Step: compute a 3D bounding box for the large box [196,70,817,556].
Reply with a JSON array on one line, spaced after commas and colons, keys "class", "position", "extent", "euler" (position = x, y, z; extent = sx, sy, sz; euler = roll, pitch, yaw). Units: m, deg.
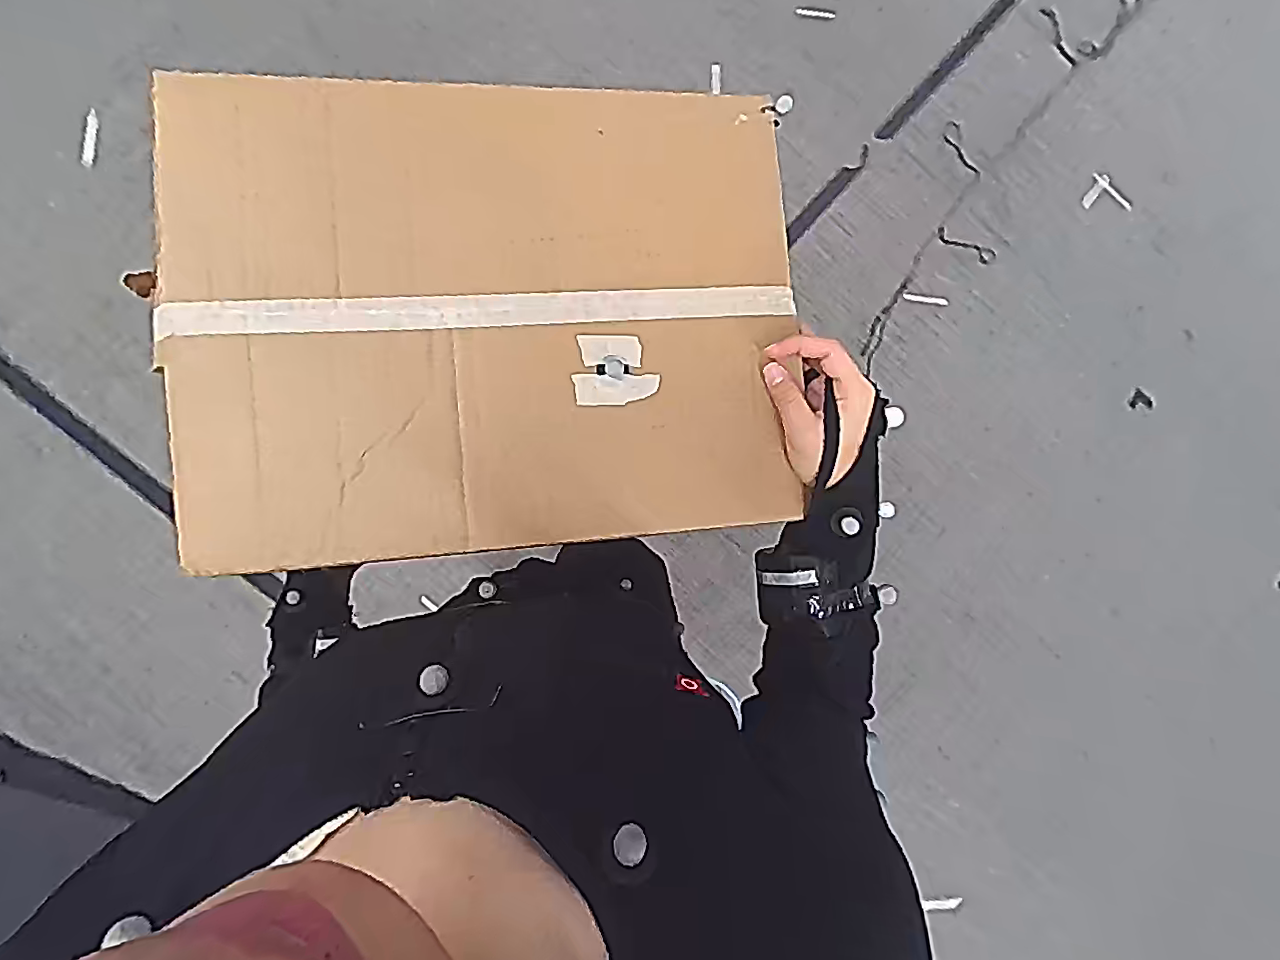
[{"class": "large box", "position": [-0.102, -0.113, 0.515], "extent": [0.408, 0.320, 0.320], "euler": [-3, 89, -11]}]
